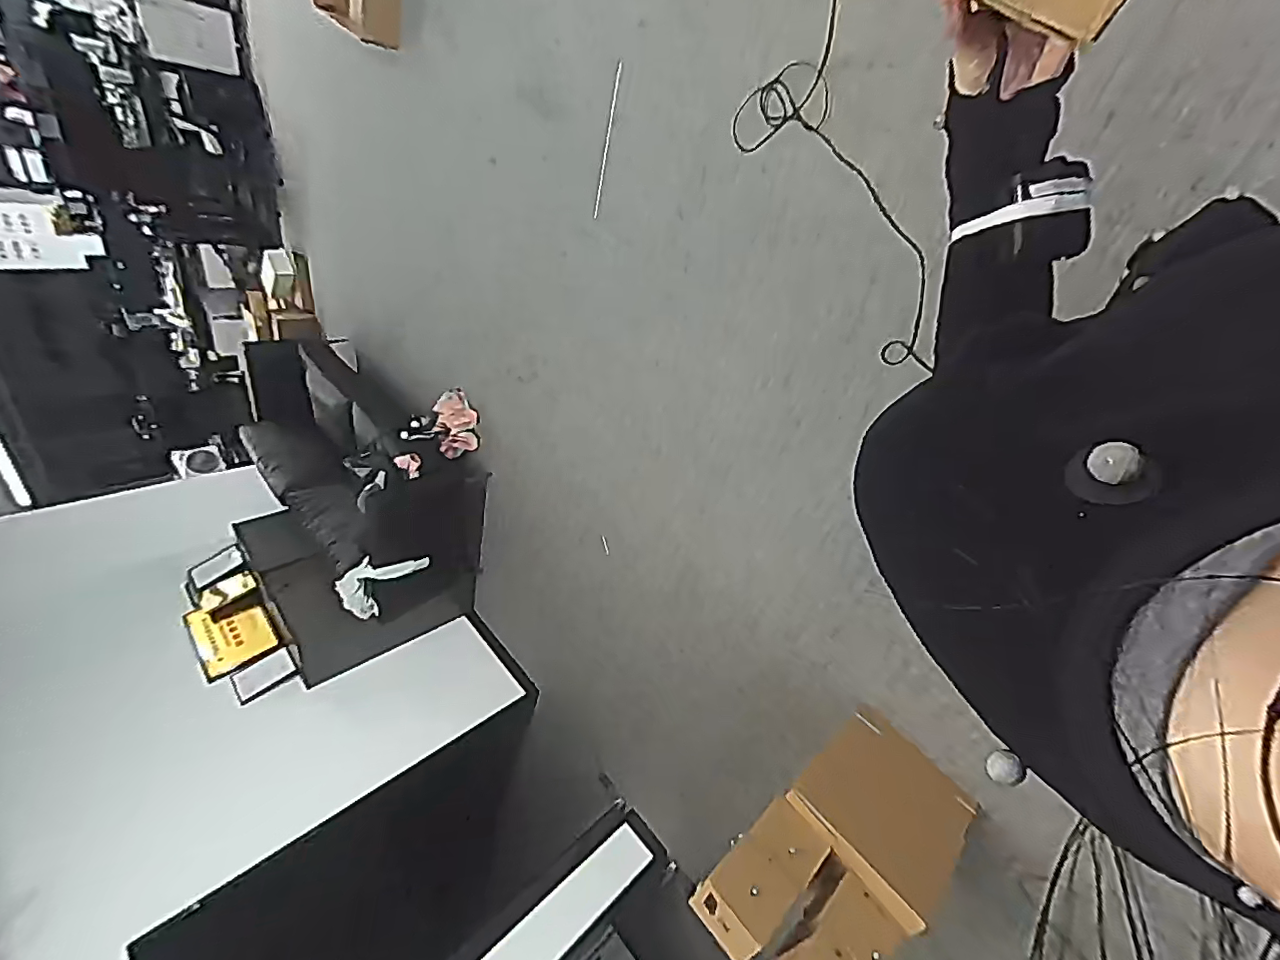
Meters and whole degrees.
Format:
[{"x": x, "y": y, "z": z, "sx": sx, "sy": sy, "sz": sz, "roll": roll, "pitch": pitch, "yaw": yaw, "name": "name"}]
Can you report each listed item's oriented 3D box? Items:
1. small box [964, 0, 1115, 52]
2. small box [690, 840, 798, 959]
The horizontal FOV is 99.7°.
[{"x": 0.193, "y": -0.348, "z": 0.257, "sx": 0.168, "sy": 0.179, "sz": 0.176, "roll": 25, "pitch": 136, "yaw": -1, "name": "small box"}, {"x": 0.265, "y": 1.063, "z": 1.377, "sx": 0.179, "sy": 0.176, "sz": 0.168, "roll": 39, "pitch": 130, "yaw": 29, "name": "small box"}]
